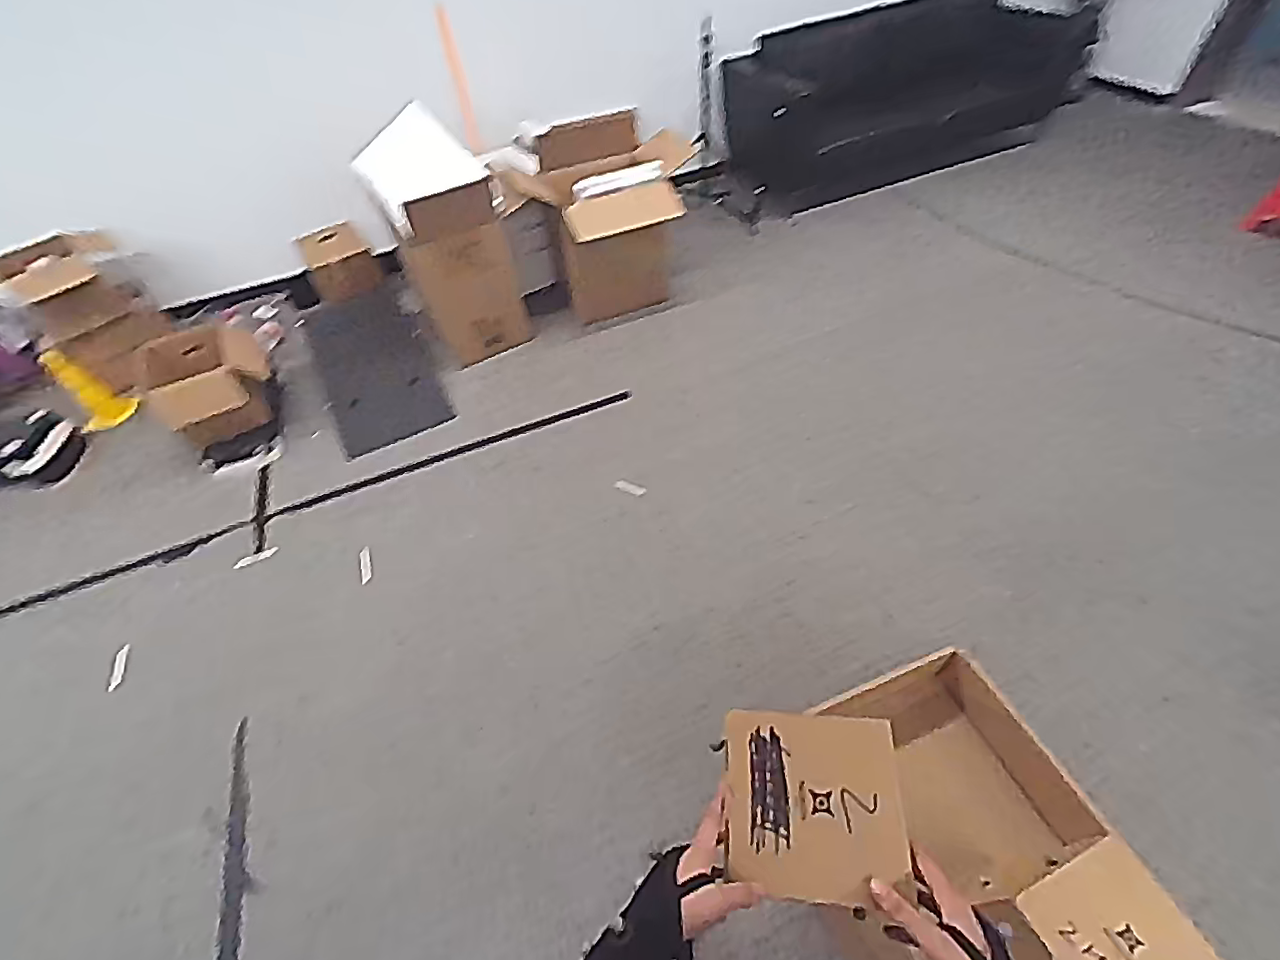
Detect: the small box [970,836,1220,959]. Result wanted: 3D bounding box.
[{"bbox_3d":[0.583,0.603,0.709,0.179,0.176,0.168,-21,50,-11],"label":"small box"}]
